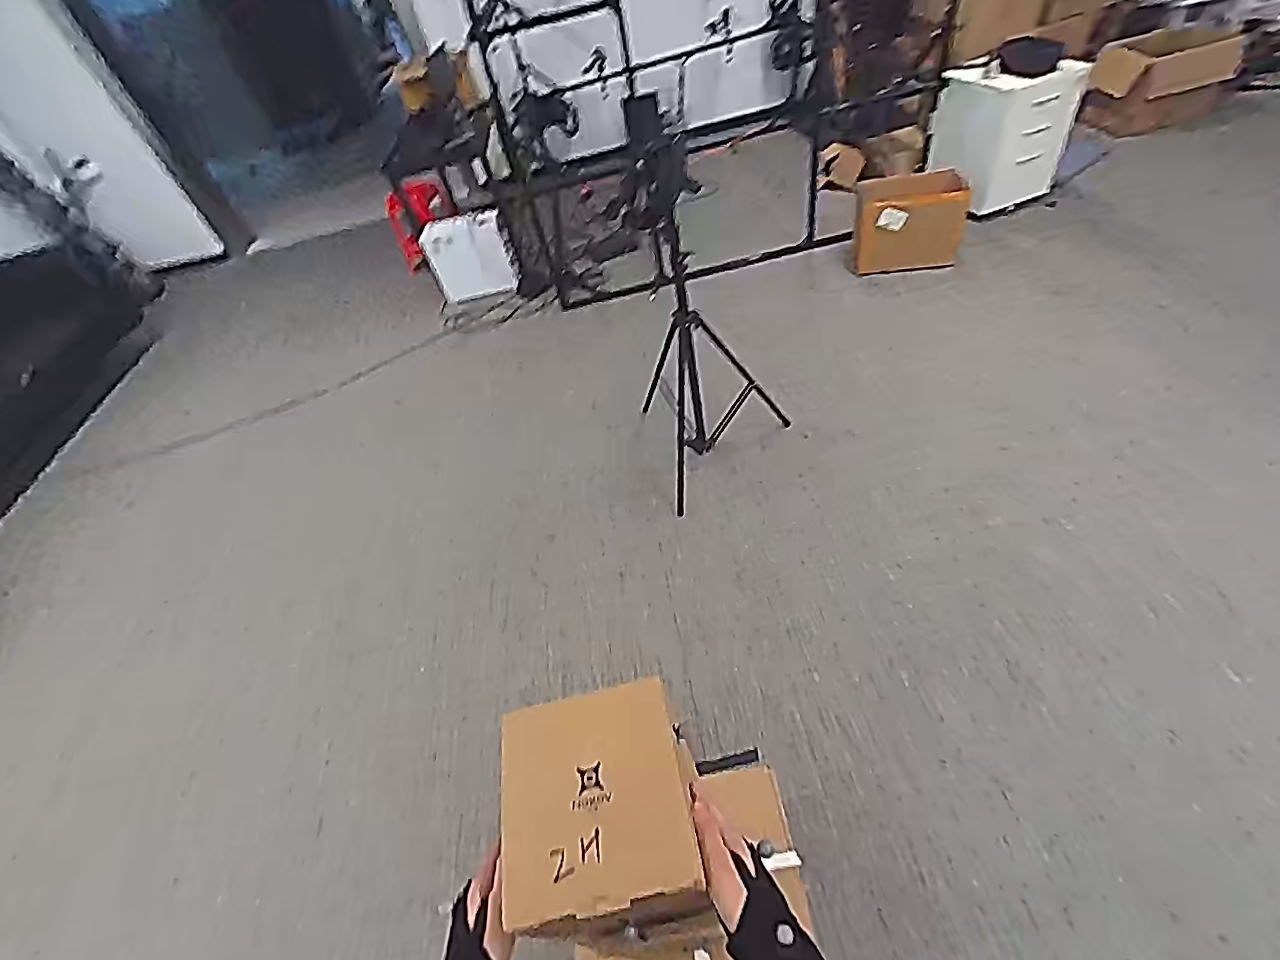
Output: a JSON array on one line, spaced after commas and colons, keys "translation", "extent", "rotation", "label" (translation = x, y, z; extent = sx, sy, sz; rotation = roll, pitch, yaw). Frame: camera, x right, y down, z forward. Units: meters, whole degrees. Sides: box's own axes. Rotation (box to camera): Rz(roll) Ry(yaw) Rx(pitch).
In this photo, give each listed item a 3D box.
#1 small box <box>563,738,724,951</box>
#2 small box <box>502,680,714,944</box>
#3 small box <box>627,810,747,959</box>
[{"translation": [0.001, 0.447, 0.662], "extent": [0.168, 0.176, 0.179], "rotation": [-14, 47, 1], "label": "small box"}, {"translation": [-0.030, 0.334, 0.544], "extent": [0.168, 0.176, 0.179], "rotation": [-15, 46, 1], "label": "small box"}, {"translation": [0.070, 0.671, 0.889], "extent": [0.179, 0.176, 0.168], "rotation": [-14, 47, 0], "label": "small box"}]
